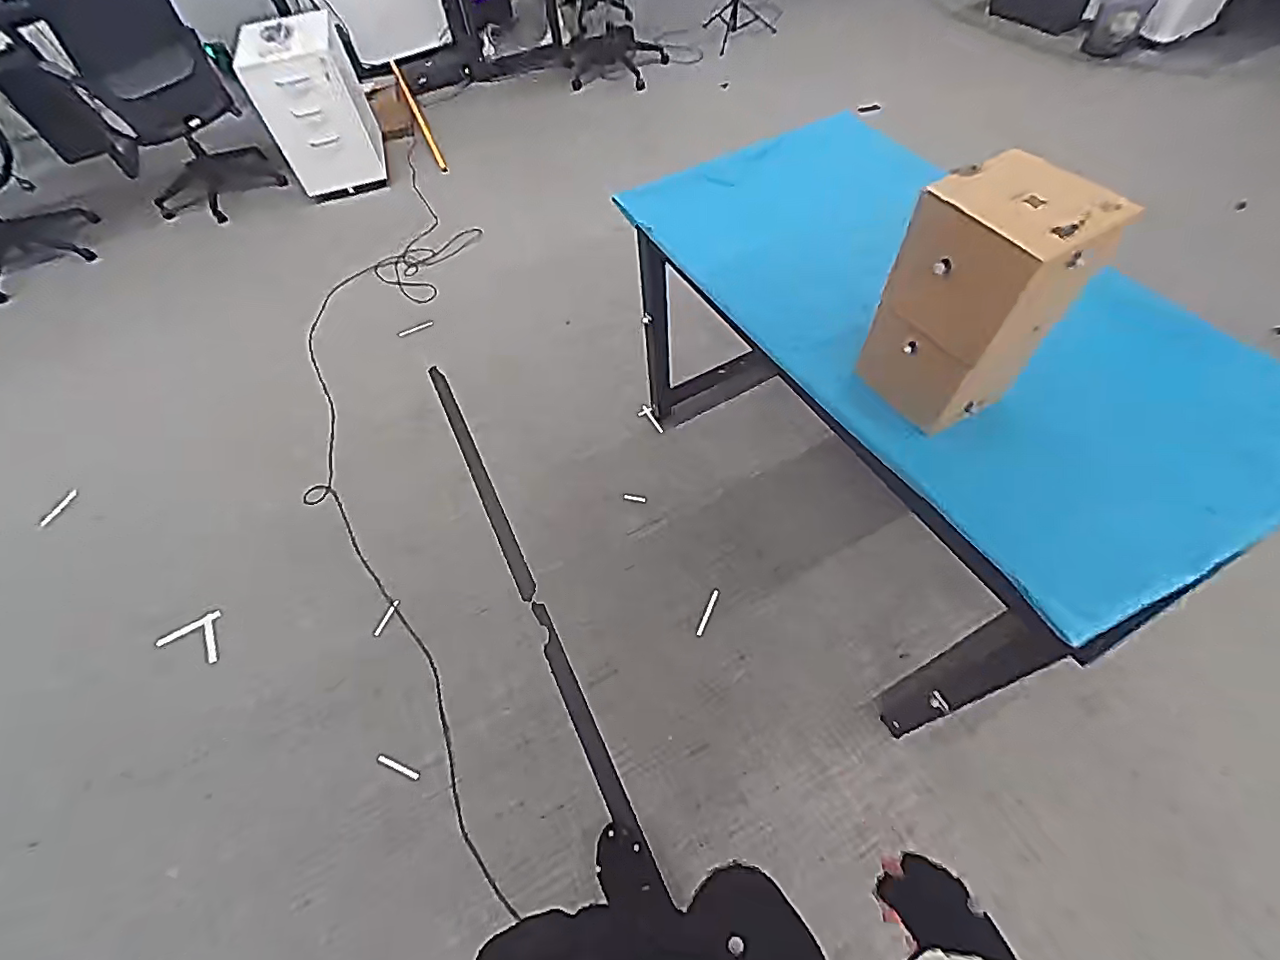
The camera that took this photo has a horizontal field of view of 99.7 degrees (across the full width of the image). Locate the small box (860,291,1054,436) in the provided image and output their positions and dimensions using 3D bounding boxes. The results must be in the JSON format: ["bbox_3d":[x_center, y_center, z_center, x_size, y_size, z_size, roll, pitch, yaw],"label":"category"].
[{"bbox_3d":[0.475,-0.202,0.841,0.168,0.176,0.179,-27,59,-11],"label":"small box"}]

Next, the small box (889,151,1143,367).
[{"bbox_3d":[0.461,-0.281,0.699,0.168,0.176,0.179,-30,61,-14],"label":"small box"}]
